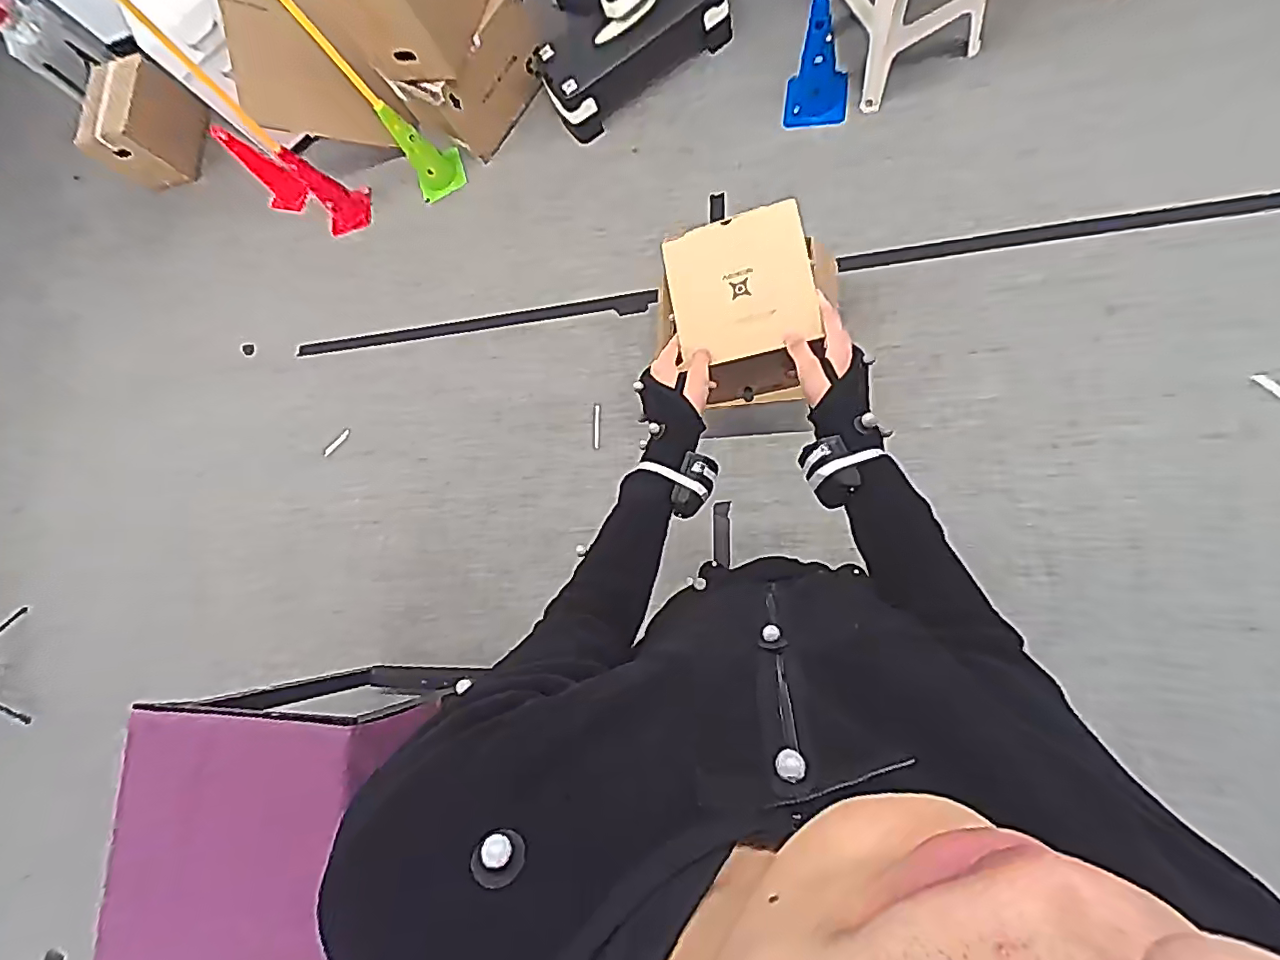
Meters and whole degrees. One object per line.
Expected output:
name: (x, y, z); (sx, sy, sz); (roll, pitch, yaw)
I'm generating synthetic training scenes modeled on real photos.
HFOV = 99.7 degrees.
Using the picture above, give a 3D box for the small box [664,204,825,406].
small box: (0.138, -0.216, 0.714); (0.168, 0.176, 0.179); (-12, 80, 14)
